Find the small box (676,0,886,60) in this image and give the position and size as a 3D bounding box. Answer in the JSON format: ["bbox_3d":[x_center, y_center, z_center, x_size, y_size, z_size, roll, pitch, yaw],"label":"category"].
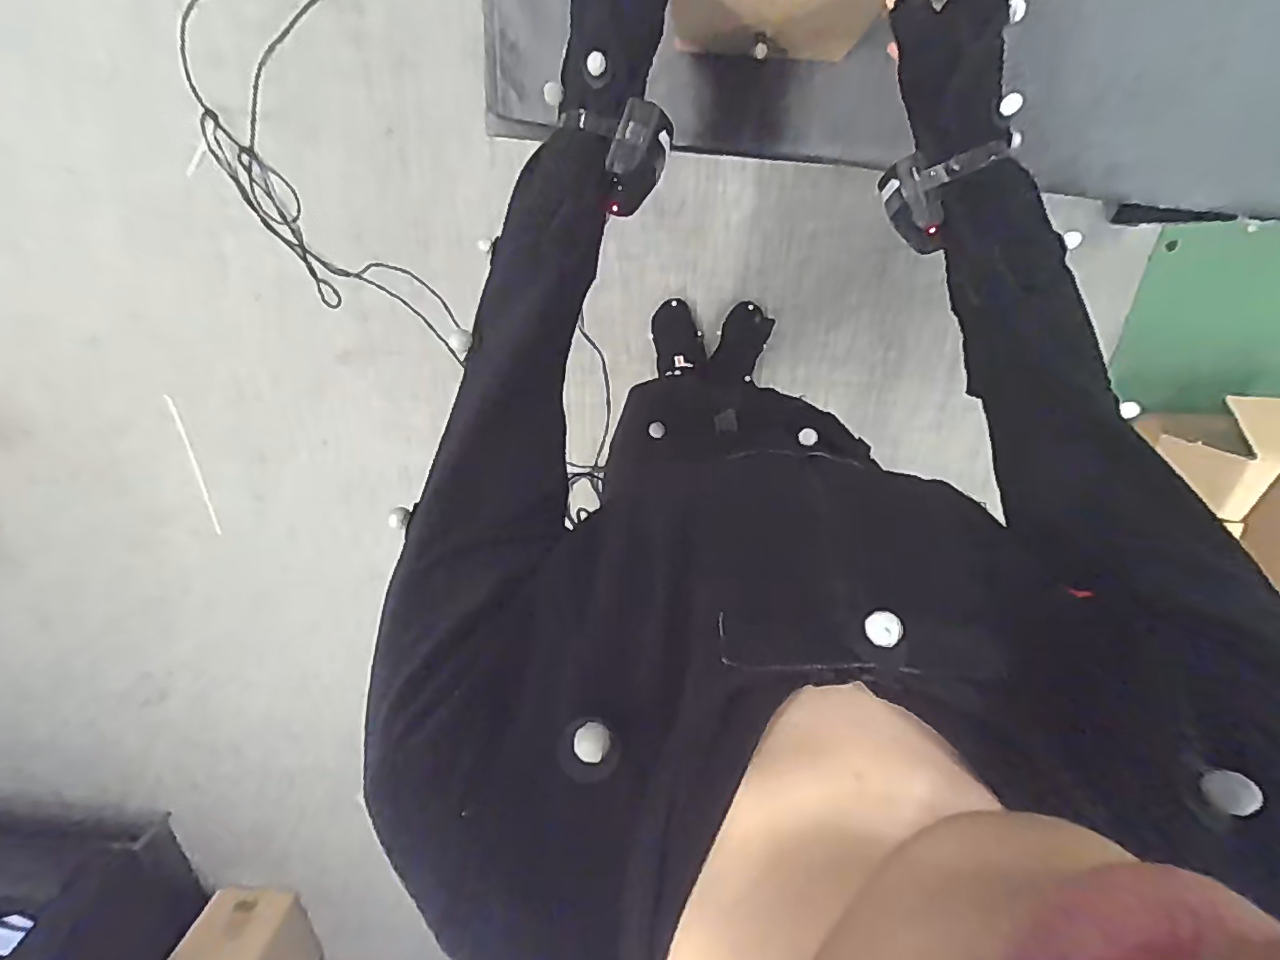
[{"bbox_3d":[0.117,-0.470,0.428,0.168,0.176,0.179,7,115,3],"label":"small box"}]
